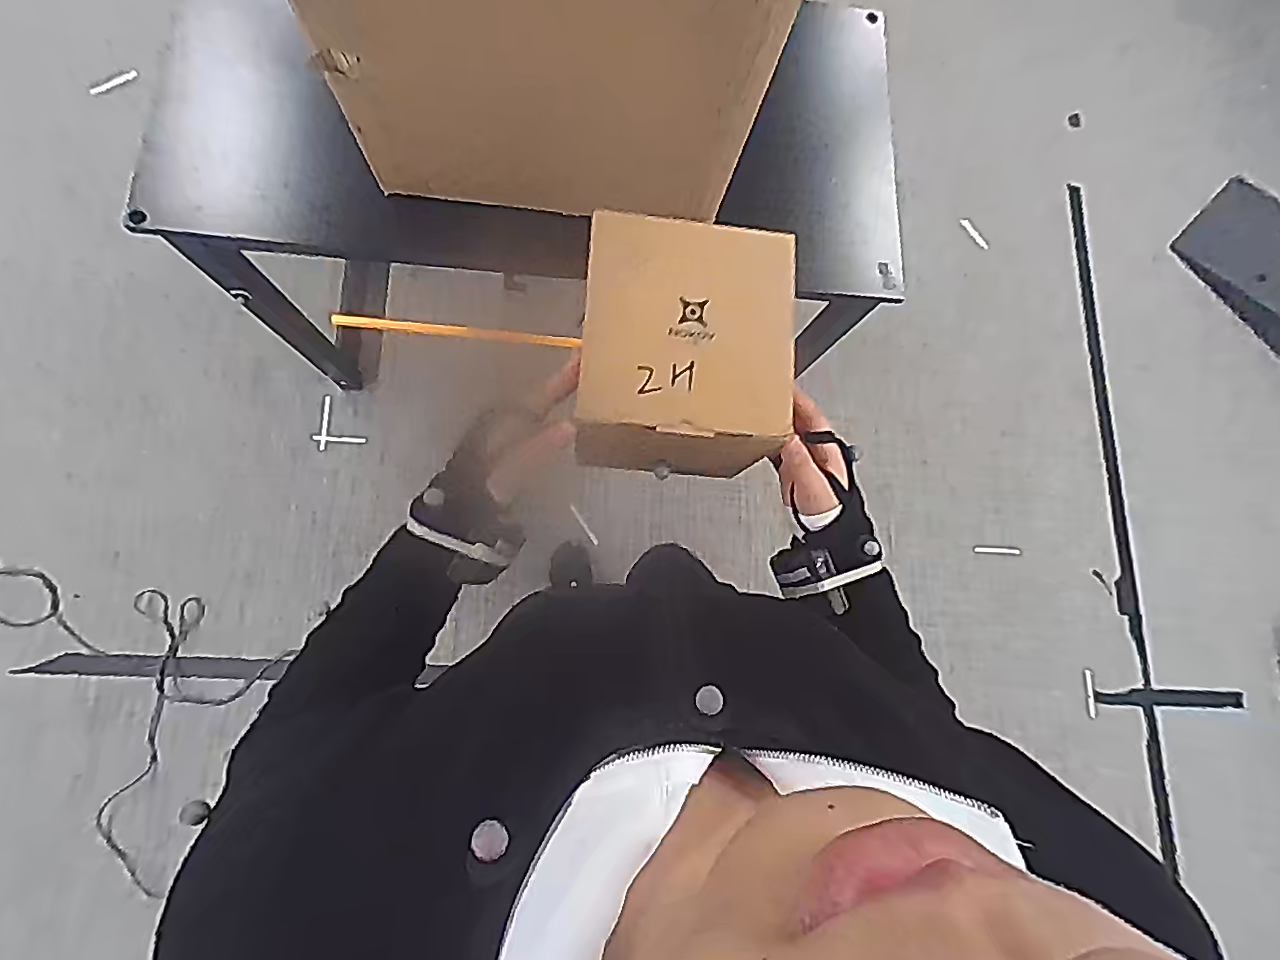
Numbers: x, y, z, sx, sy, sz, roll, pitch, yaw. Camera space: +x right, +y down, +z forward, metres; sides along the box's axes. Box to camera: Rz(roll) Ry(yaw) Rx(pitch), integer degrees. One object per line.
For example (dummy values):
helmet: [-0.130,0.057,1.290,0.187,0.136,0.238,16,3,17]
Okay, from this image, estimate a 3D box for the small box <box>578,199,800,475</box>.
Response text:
small box: [0.034,-0.113,0.491,0.168,0.176,0.179,5,79,-5]
